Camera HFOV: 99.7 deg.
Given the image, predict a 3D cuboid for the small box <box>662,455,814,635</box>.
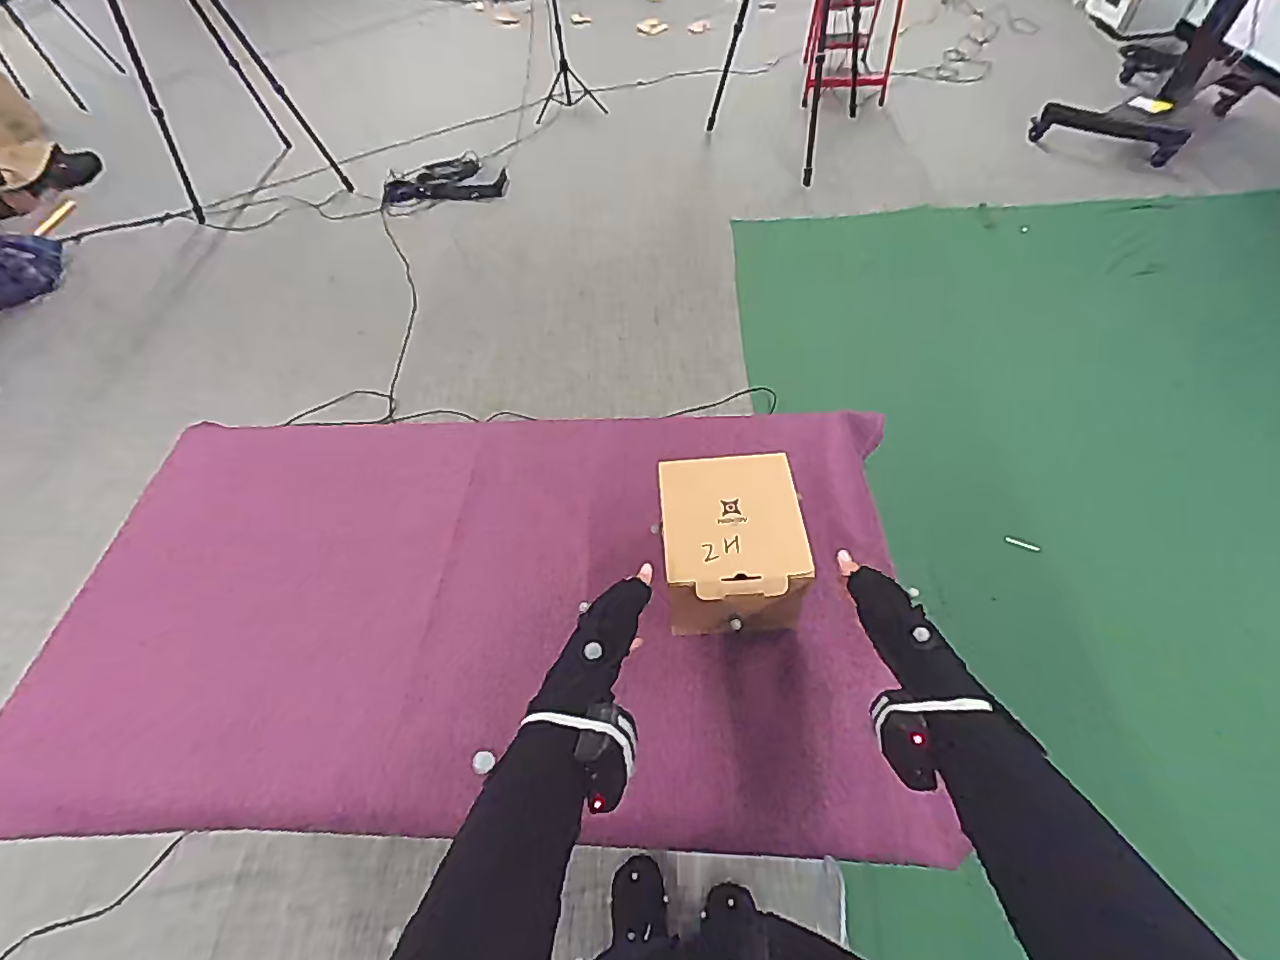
[{"bbox_3d":[0.114,0.088,0.712,0.168,0.176,0.179,-4,55,3],"label":"small box"}]
